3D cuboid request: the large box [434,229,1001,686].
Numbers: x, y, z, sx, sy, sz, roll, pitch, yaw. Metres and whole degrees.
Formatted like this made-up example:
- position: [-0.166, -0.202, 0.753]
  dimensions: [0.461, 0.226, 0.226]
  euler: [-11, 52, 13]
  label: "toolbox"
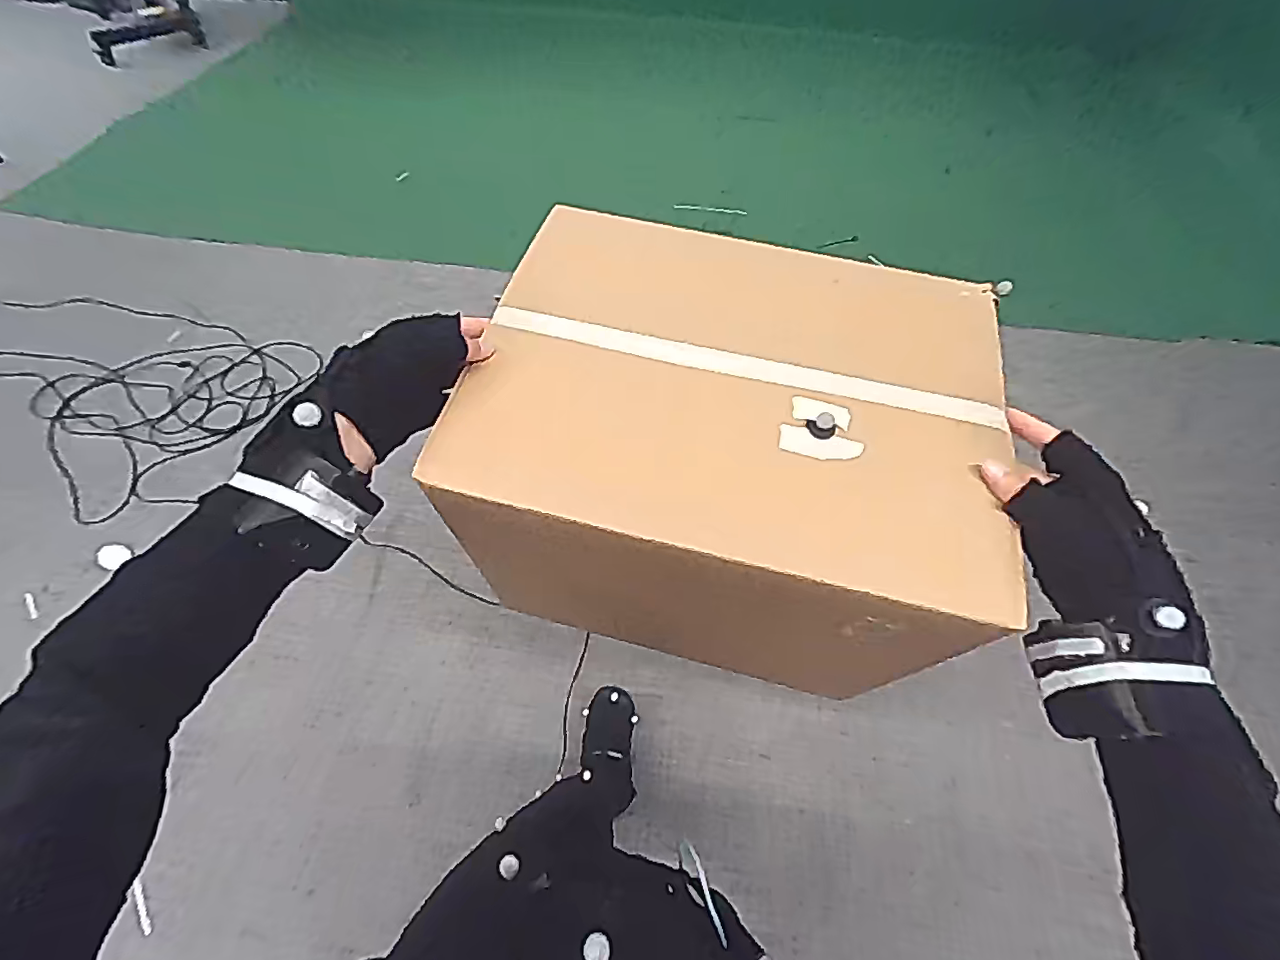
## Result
- position: [0.072, -0.007, 0.570]
  dimensions: [0.408, 0.320, 0.320]
  euler: [13, 62, 6]
  label: "large box"
